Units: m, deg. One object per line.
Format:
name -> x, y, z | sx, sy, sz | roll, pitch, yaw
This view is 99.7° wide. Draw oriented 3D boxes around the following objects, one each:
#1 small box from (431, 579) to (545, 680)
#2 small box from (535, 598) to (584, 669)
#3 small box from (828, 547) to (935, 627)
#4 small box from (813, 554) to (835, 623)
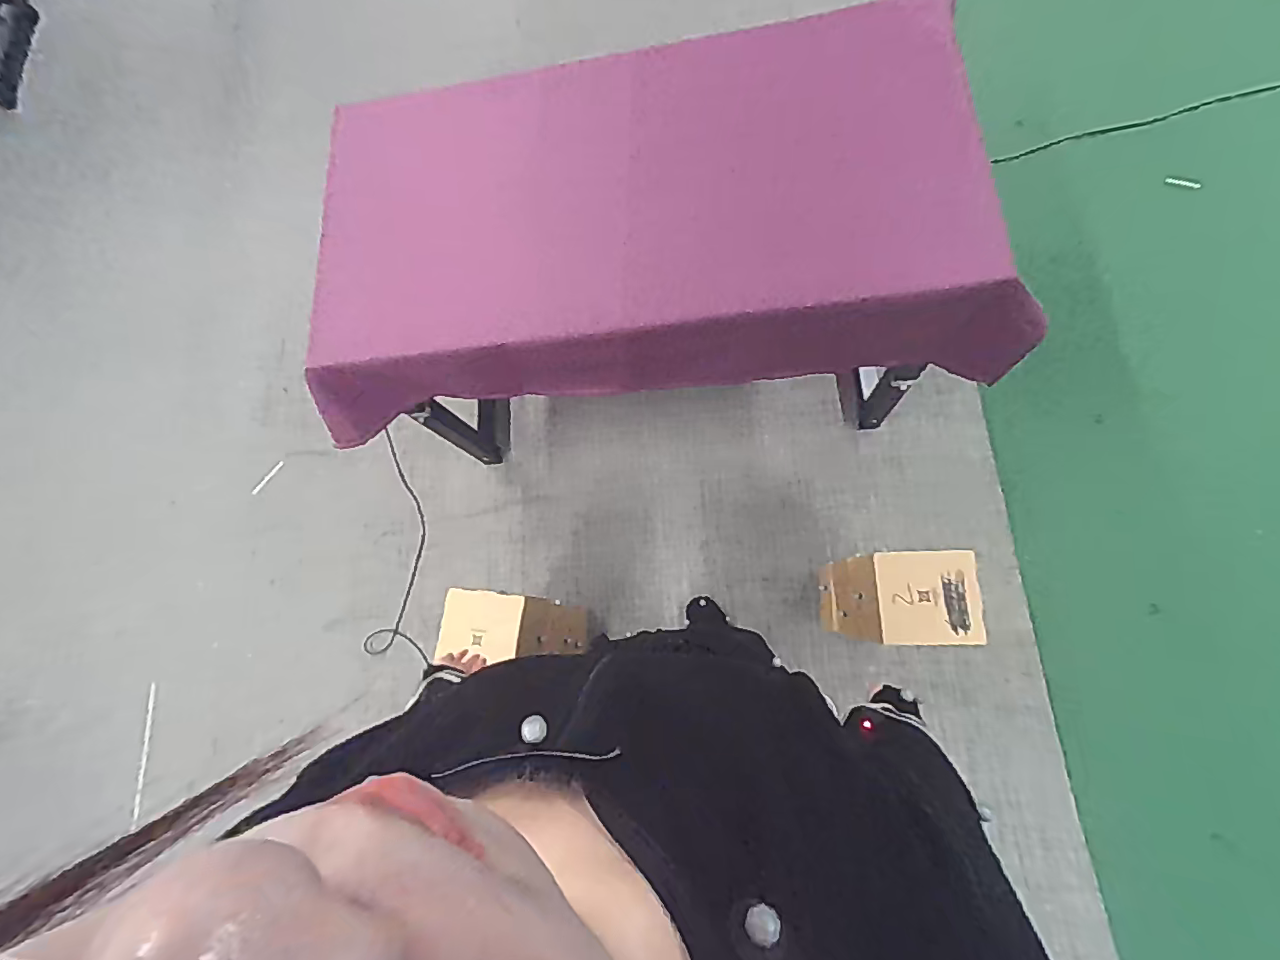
small box -> -0.310, 0.312, 1.142 | 0.168, 0.176, 0.179 | 5, 77, 10
small box -> -0.250, 0.408, 1.452 | 0.168, 0.176, 0.179 | -2, 75, 7
small box -> 0.530, 0.243, 1.214 | 0.179, 0.176, 0.168 | -3, 77, 6
small box -> 0.543, 0.279, 1.372 | 0.179, 0.176, 0.168 | -1, 77, 7
